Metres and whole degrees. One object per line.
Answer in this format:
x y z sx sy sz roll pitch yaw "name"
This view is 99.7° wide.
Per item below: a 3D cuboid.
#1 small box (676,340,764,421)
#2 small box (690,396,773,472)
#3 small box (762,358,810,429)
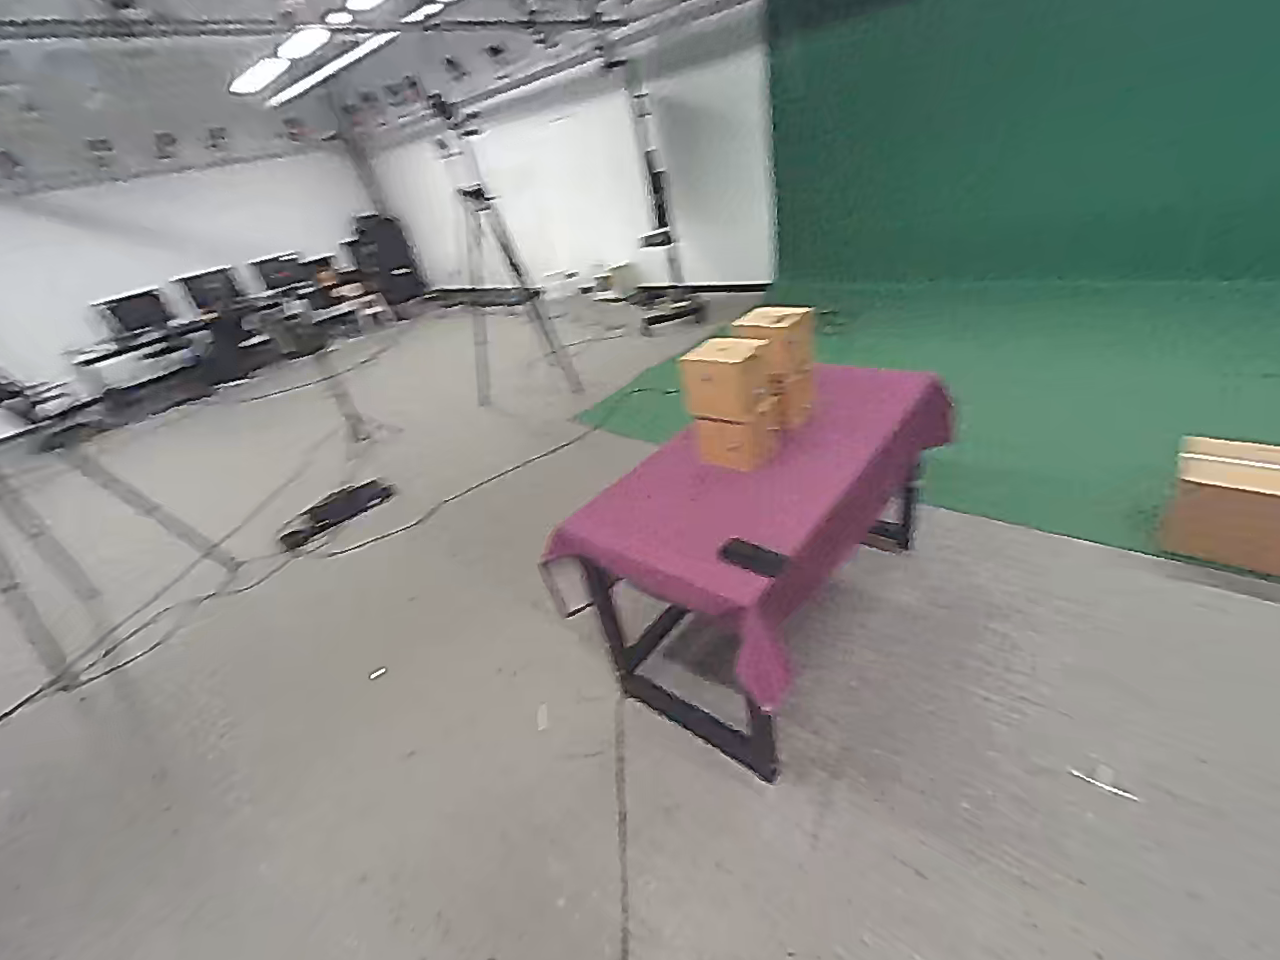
0.225 -0.275 1.489 0.179 0.176 0.168 14 40 37 "small box"
0.272 -0.141 1.573 0.179 0.176 0.168 14 40 38 "small box"
0.429 -0.279 1.736 0.179 0.176 0.168 16 41 38 "small box"
